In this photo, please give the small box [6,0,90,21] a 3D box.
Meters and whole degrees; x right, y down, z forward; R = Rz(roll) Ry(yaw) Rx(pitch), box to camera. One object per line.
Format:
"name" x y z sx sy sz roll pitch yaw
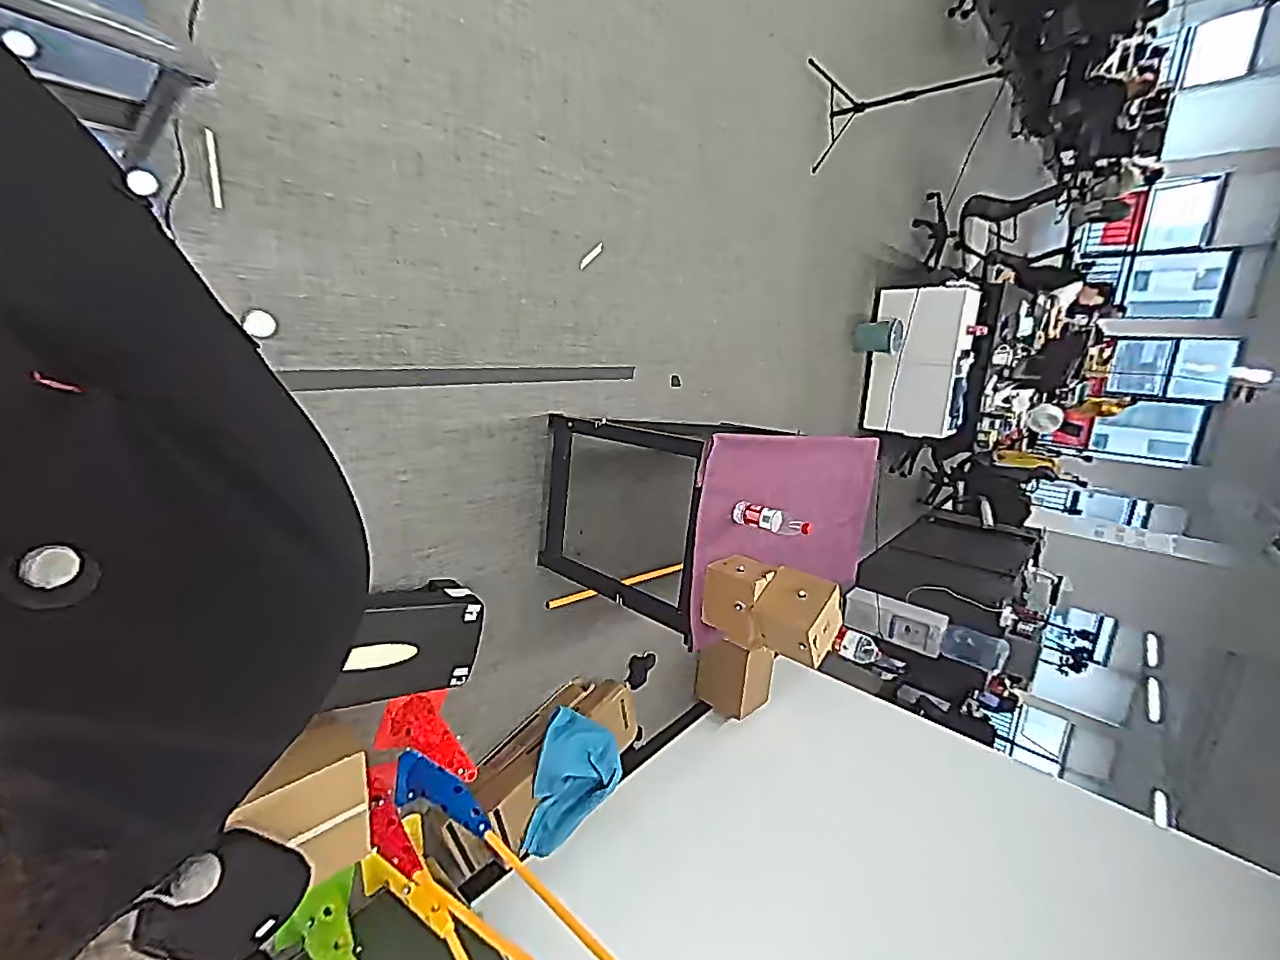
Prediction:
"small box" -0.875 -0.769 0.726 0.179 0.176 0.168 -14 111 -46
